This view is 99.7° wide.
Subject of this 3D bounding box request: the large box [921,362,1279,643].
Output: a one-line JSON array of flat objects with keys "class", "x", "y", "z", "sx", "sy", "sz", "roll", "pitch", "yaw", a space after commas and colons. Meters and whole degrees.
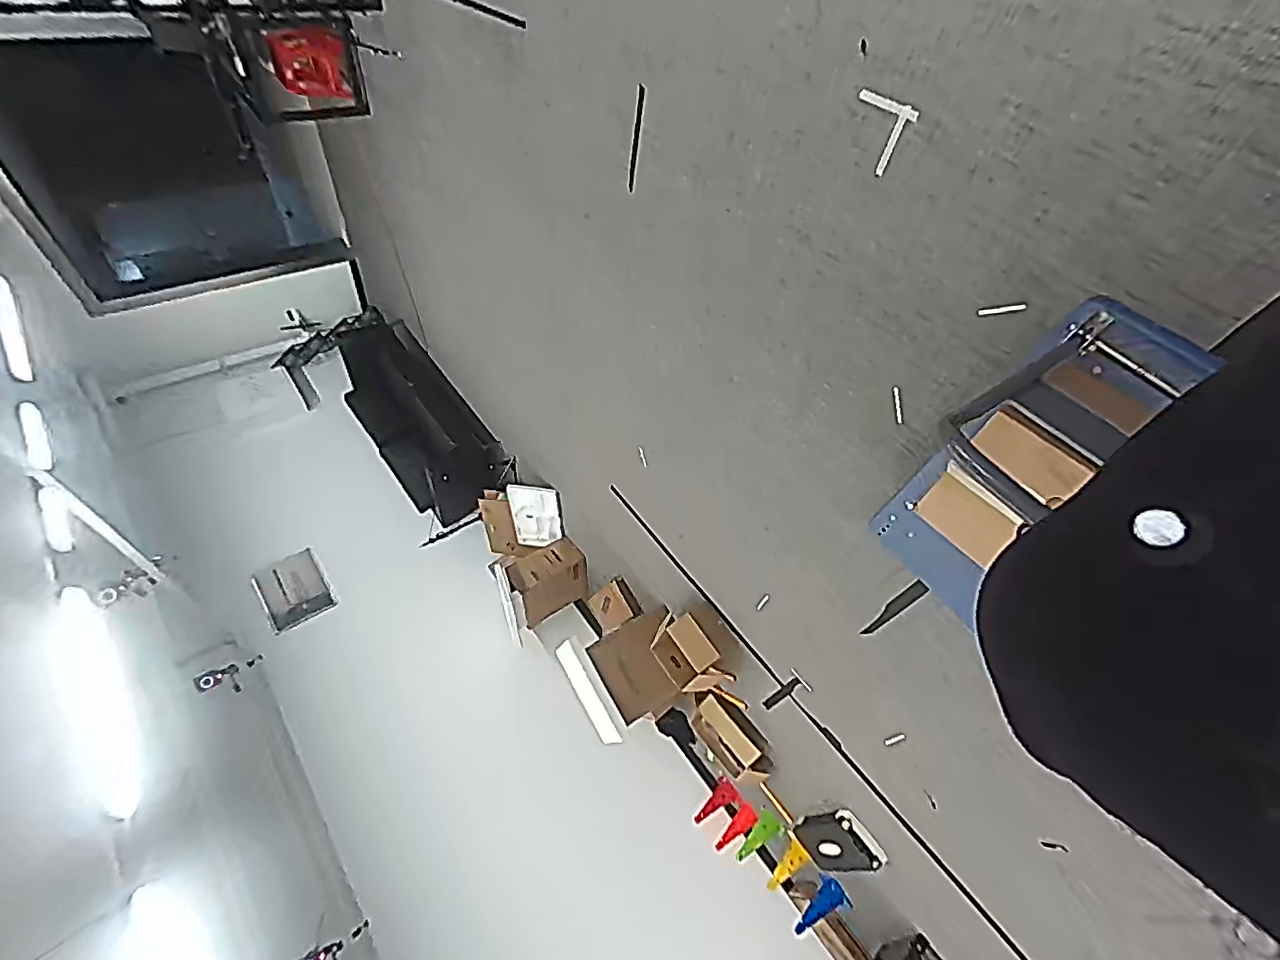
[{"class": "large box", "x": 0.887, "y": 0.033, "z": 1.081, "sx": 0.408, "sy": 0.320, "sz": 0.320, "roll": 48, "pitch": 148, "yaw": 27}]
